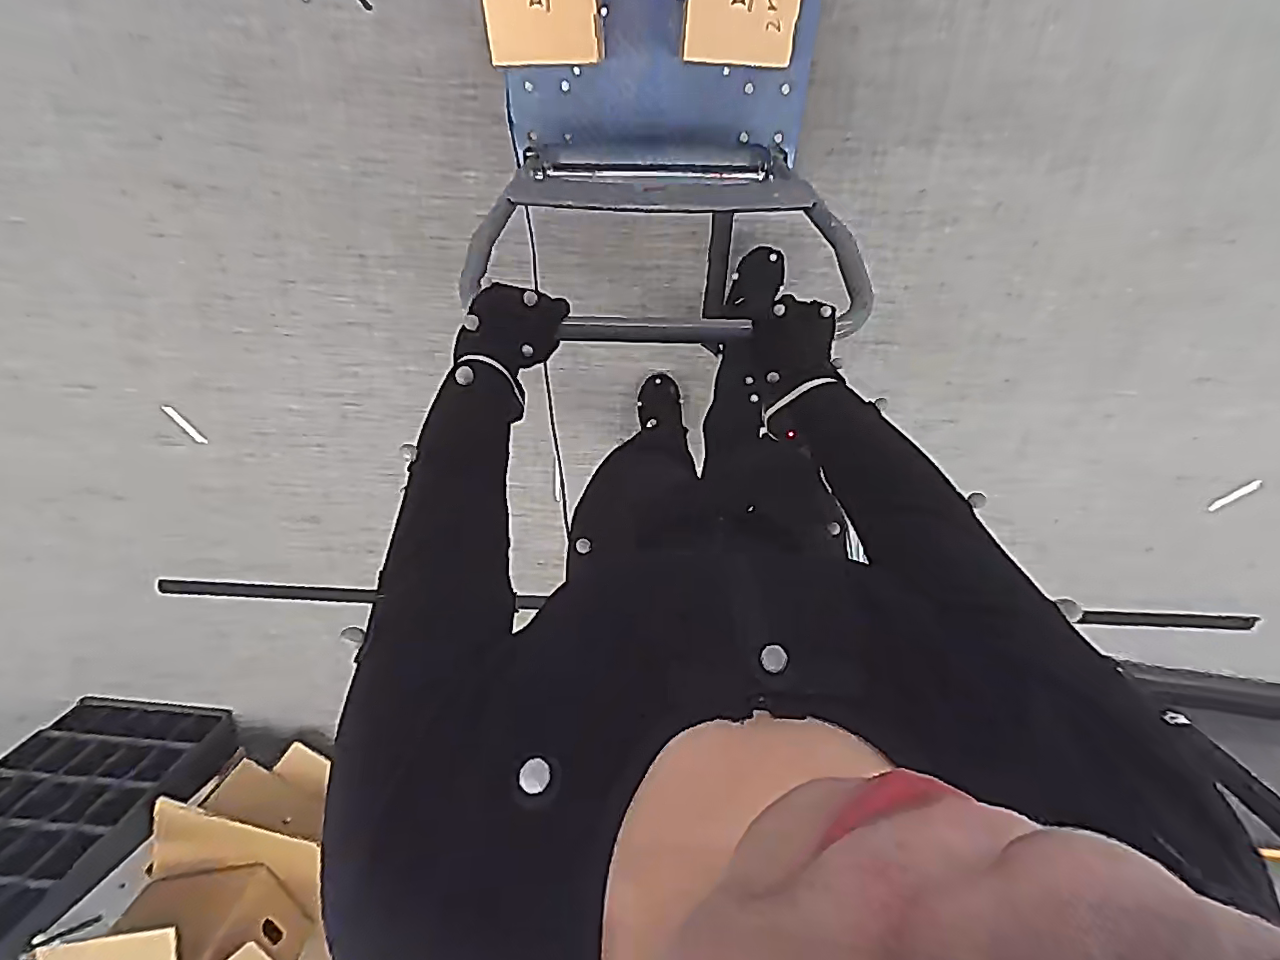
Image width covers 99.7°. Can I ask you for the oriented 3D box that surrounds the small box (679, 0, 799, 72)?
[{"bbox_3d":[0.160,-0.783,0.892,0.179,0.176,0.168,4,128,-1],"label":"small box"}]

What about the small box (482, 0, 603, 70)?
[{"bbox_3d":[-0.157,-0.787,0.897,0.179,0.176,0.168,-2,127,1],"label":"small box"}]
